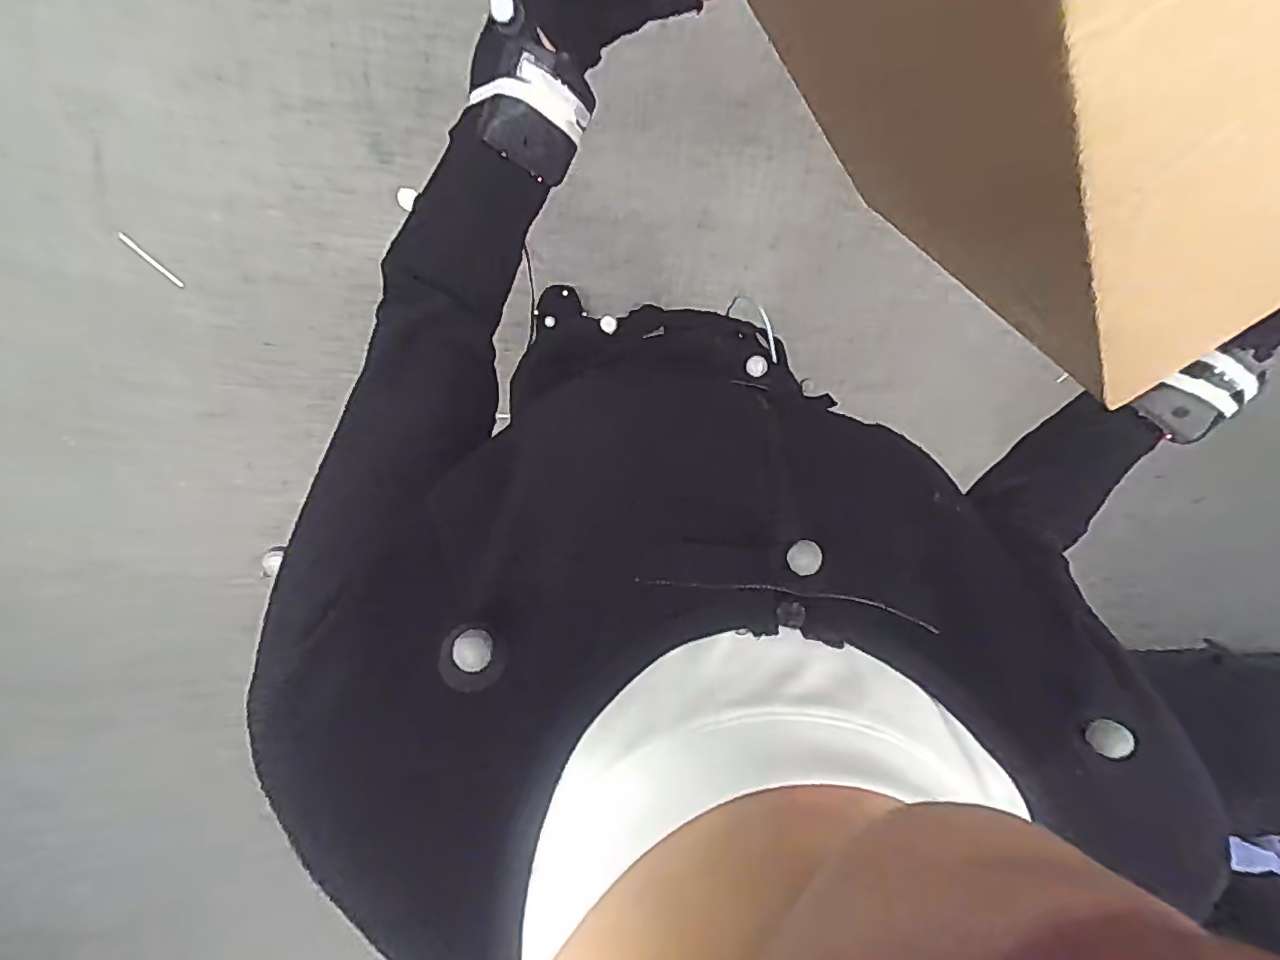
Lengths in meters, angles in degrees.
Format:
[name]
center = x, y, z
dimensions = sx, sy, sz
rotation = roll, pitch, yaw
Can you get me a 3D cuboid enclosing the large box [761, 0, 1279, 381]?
[large box]
center = 0.263, -0.317, 0.270
dimensions = 0.320, 0.320, 0.408
rotation = -41, 144, 26
